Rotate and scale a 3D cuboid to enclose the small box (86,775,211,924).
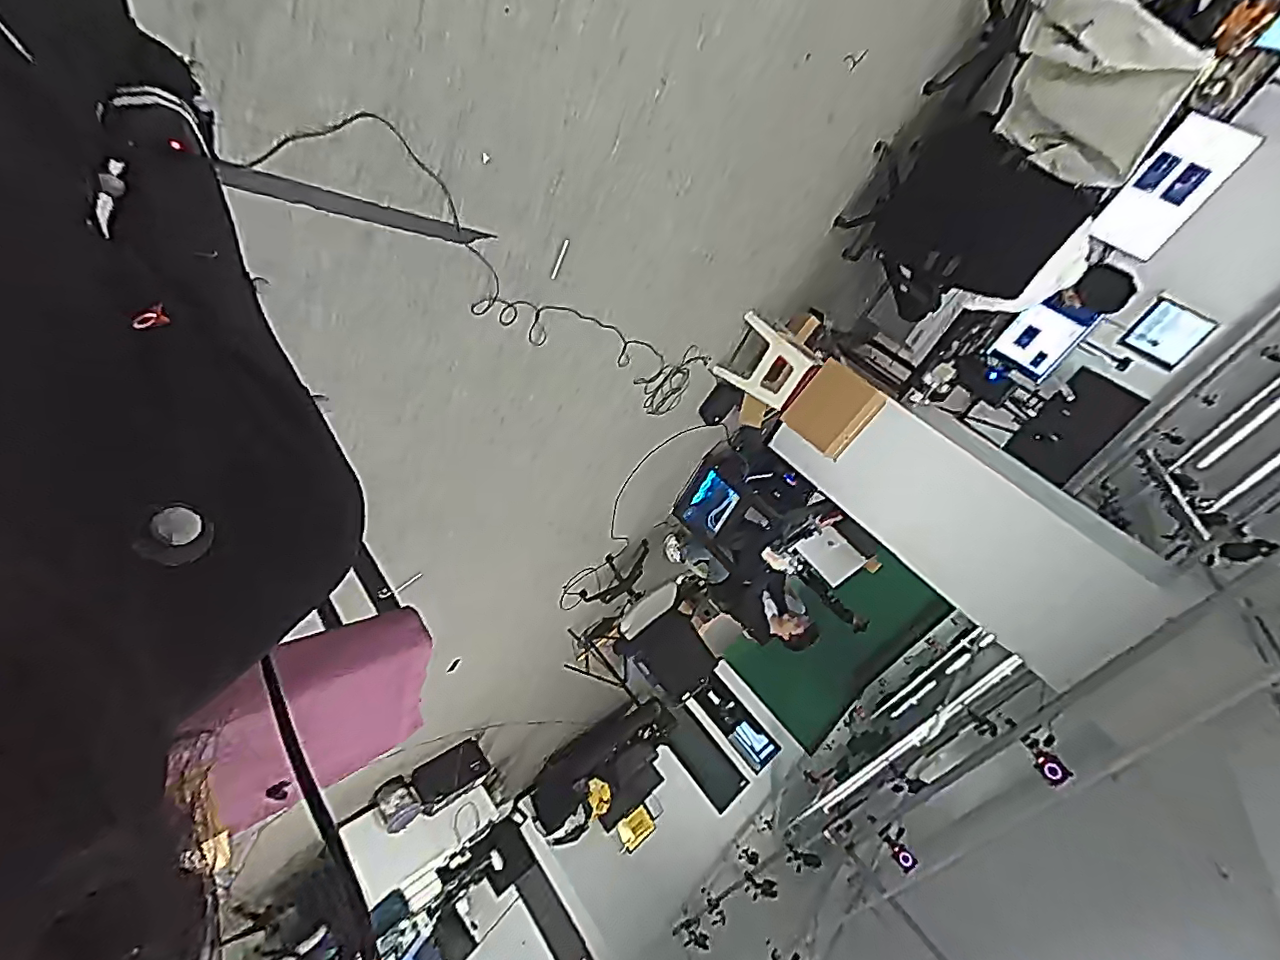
[{"bbox_3d":[-1.025,0.764,1.134,0.168,0.176,0.179,-14,141,-47],"label":"small box"}]
